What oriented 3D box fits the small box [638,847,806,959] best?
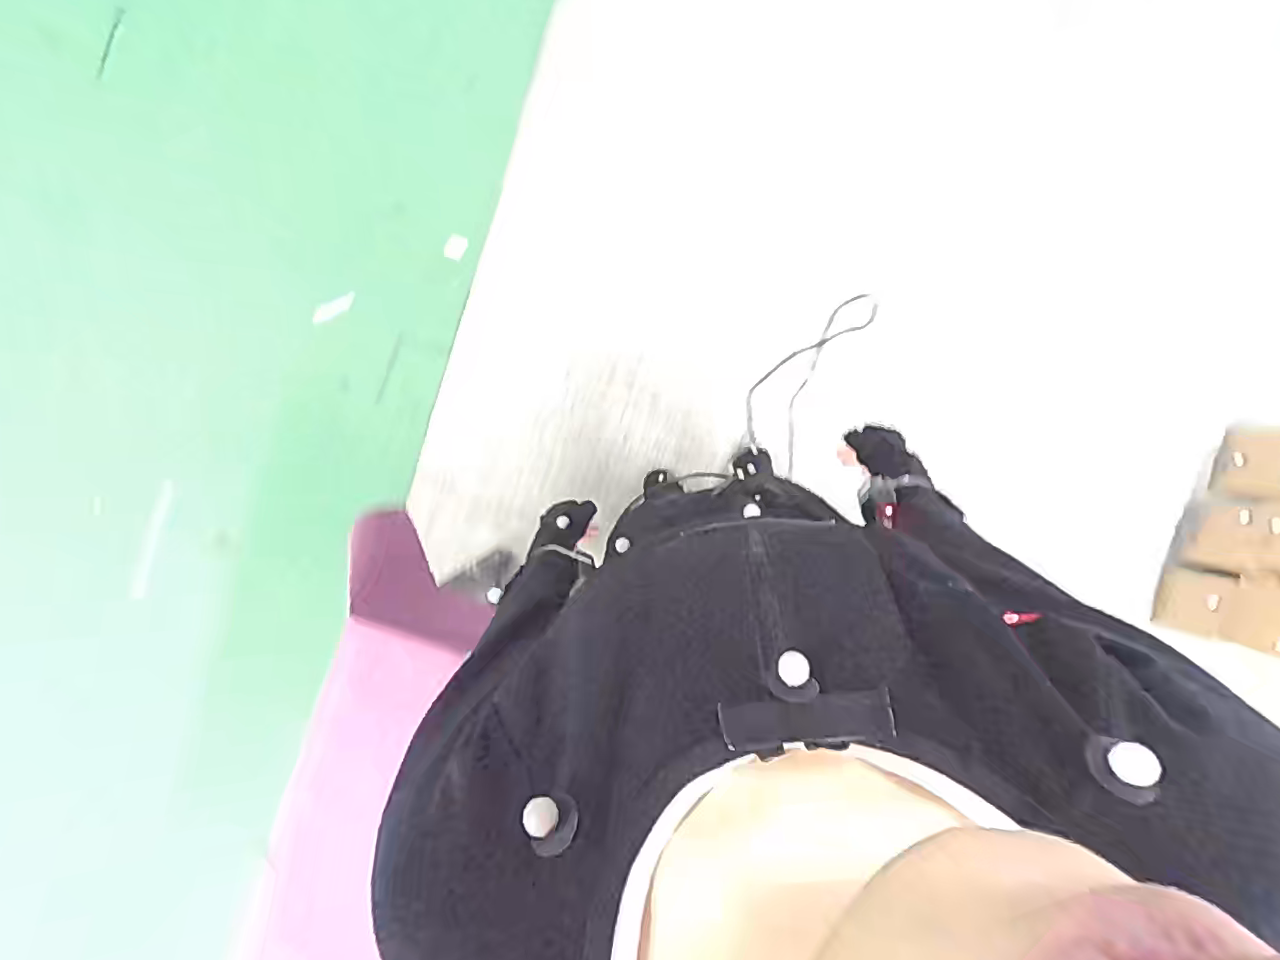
[{"bbox_3d":[0.095,0.619,0.685,0.168,0.176,0.179,20,92,1],"label":"small box"}]
